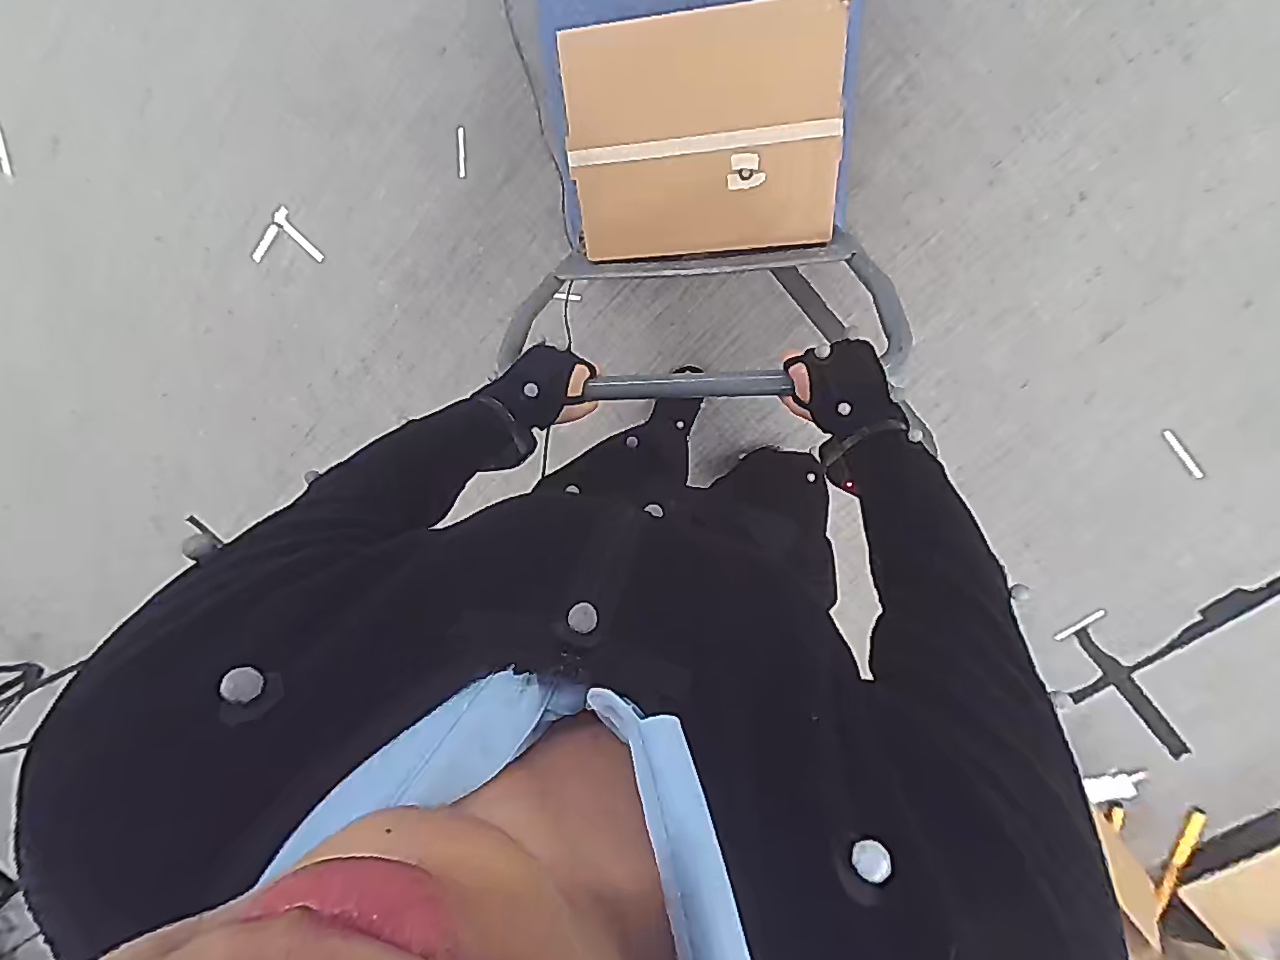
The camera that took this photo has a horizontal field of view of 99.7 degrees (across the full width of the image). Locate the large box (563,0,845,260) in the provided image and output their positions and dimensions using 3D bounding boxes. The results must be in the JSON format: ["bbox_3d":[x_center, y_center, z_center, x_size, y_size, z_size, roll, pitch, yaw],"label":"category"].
[{"bbox_3d":[0.114,-0.598,0.959,0.408,0.320,0.320,-2,122,9],"label":"large box"}]
